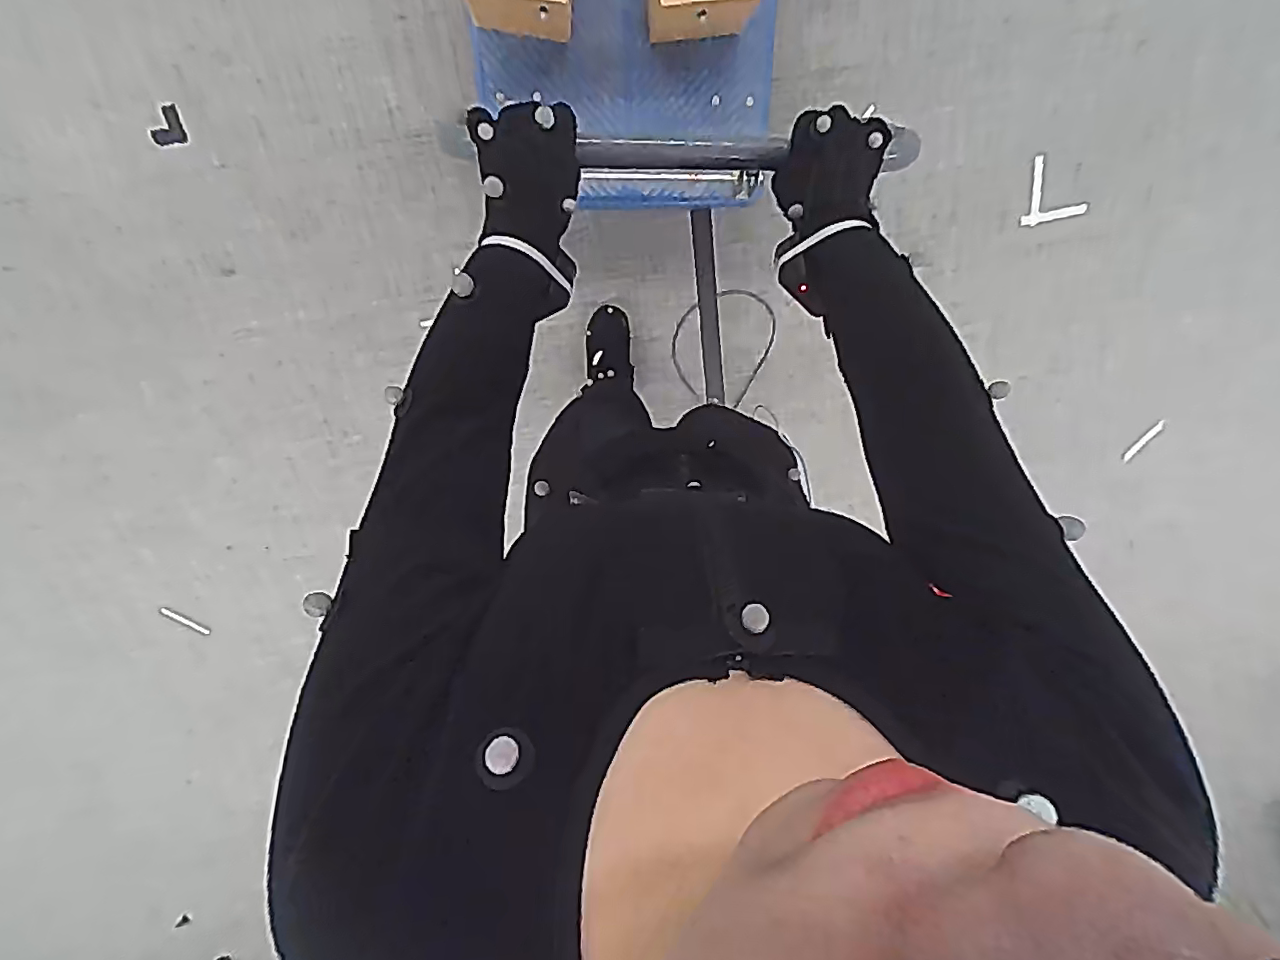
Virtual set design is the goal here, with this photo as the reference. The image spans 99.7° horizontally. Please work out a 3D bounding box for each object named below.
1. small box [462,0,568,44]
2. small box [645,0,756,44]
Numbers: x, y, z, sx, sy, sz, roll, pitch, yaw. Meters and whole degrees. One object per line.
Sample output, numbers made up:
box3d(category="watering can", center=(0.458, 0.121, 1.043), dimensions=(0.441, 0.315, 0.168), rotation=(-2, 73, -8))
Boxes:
box3d(category="small box", center=(-0.207, -0.861, 0.895), dimensions=(0.179, 0.176, 0.168), rotation=(3, 111, -9))
box3d(category="small box", center=(0.096, -0.876, 0.921), dimensions=(0.179, 0.176, 0.168), rotation=(-8, 113, -3))
